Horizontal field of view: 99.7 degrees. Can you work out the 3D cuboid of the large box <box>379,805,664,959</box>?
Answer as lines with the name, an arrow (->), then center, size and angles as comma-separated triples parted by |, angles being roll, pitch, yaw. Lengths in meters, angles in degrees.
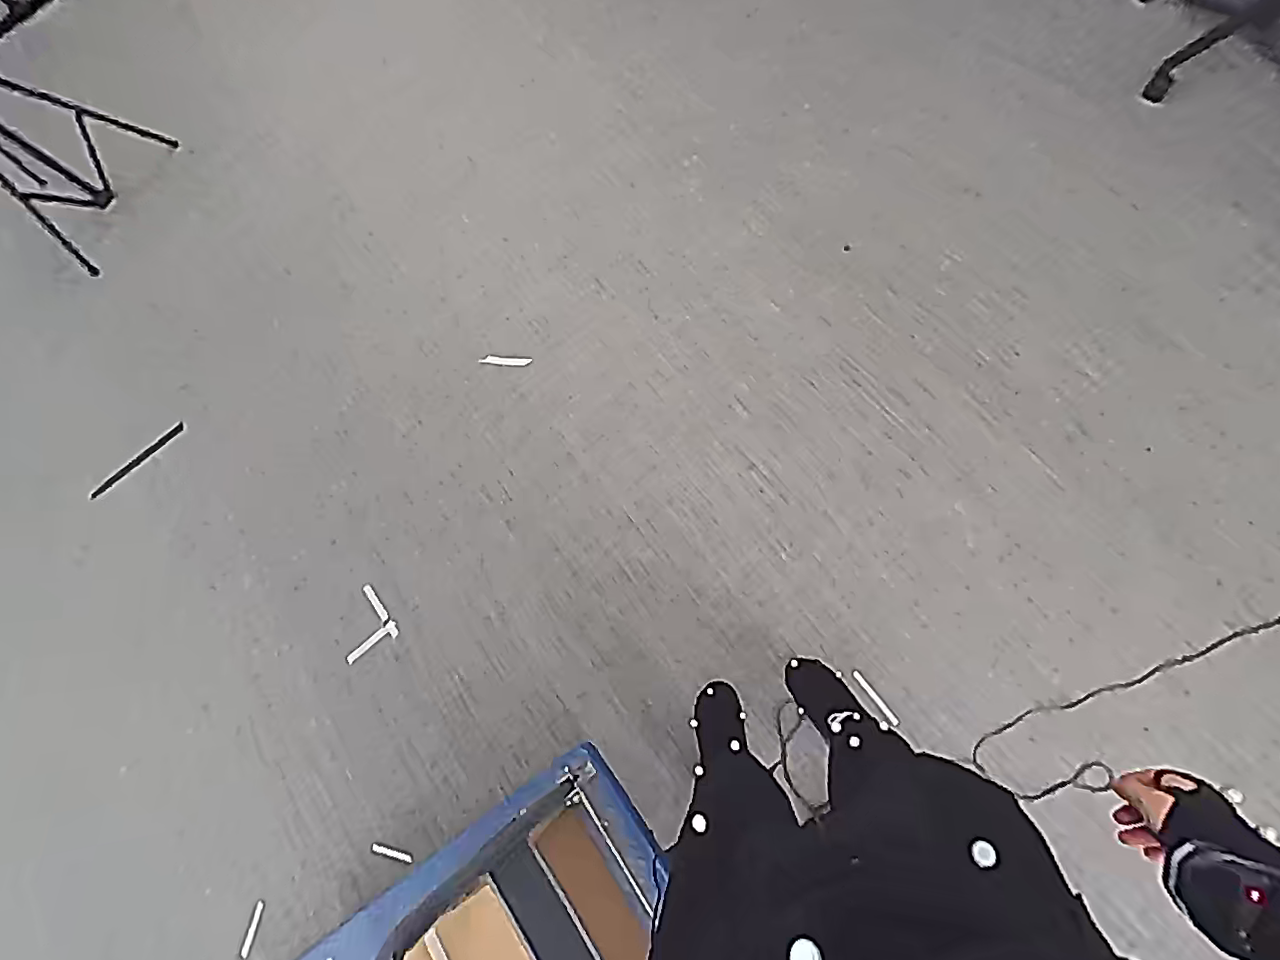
large box -> -0.175, 0.874, 0.925 | 0.320, 0.320, 0.408 | -37, 72, -1
